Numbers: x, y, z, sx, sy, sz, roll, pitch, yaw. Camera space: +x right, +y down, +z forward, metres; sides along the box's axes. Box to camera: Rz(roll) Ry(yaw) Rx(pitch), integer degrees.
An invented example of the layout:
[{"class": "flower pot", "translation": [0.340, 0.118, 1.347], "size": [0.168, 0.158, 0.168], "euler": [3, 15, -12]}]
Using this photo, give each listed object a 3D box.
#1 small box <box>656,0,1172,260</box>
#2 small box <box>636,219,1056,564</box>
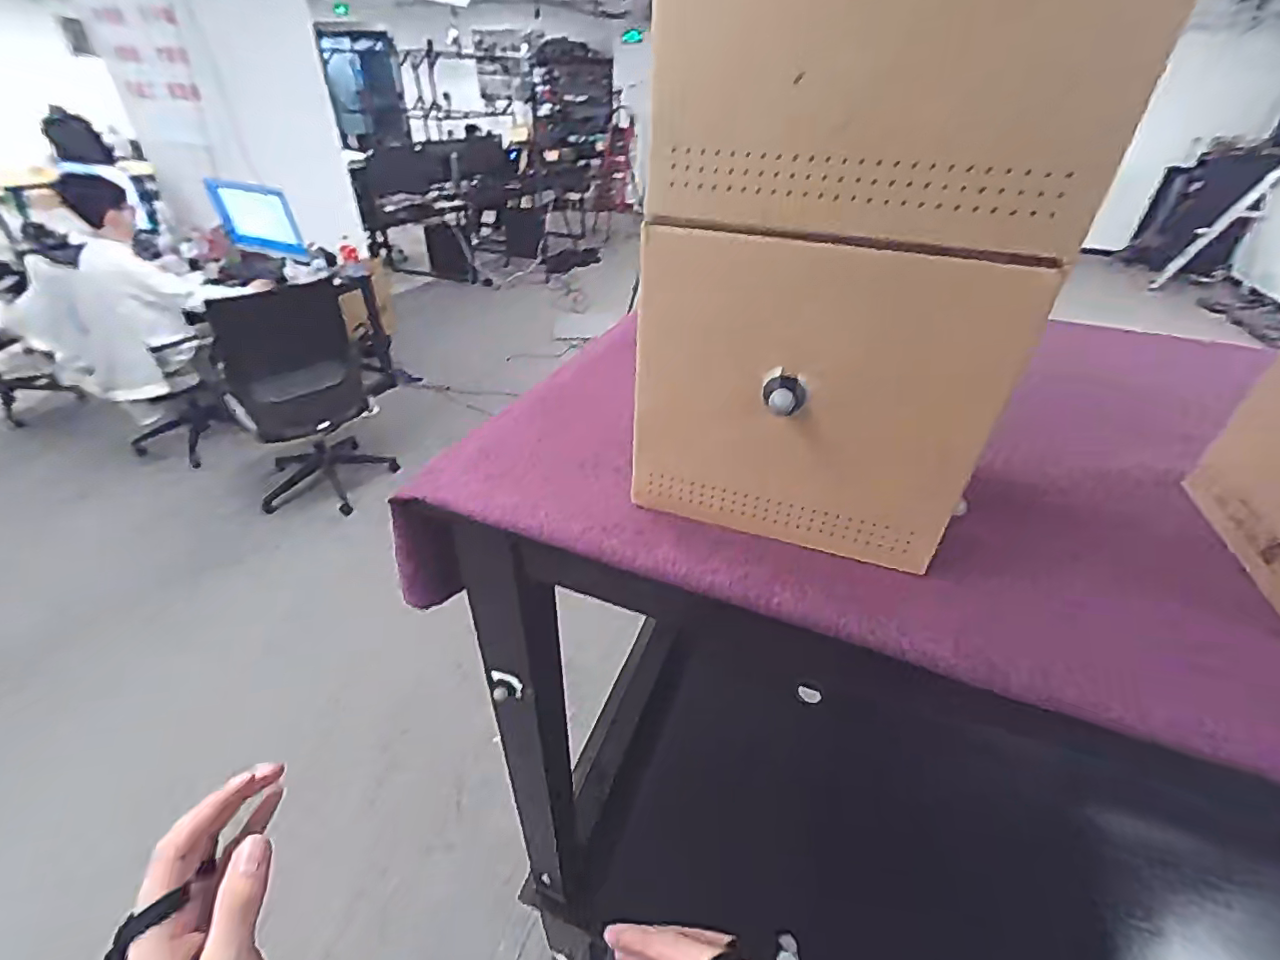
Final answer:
[{"class": "small box", "translation": [0.113, -0.207, 0.245], "size": [0.179, 0.176, 0.168], "euler": [14, 37, 16]}, {"class": "small box", "translation": [0.105, -0.071, 0.338], "size": [0.179, 0.176, 0.168], "euler": [12, 36, 15]}]
